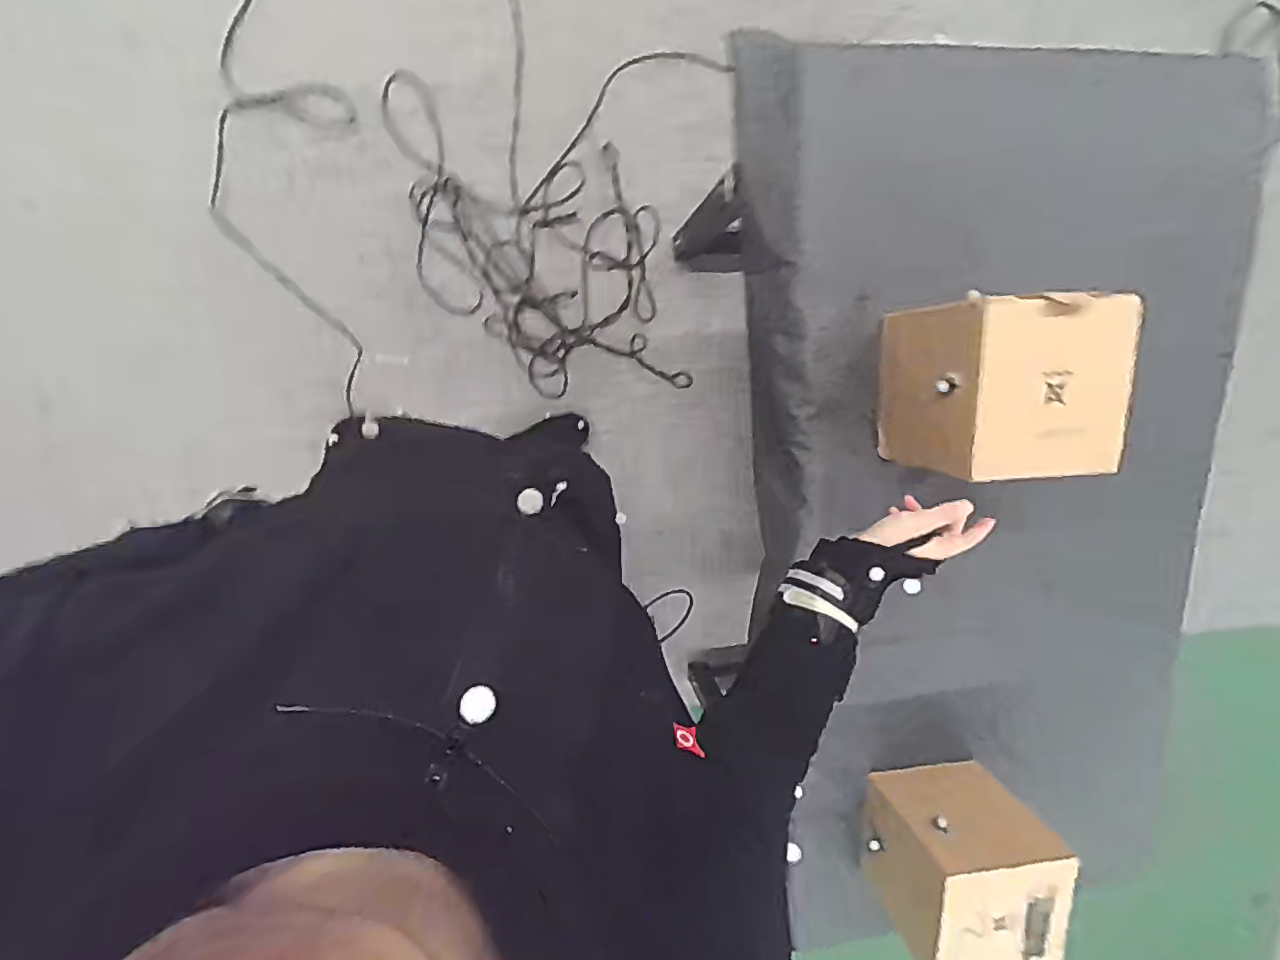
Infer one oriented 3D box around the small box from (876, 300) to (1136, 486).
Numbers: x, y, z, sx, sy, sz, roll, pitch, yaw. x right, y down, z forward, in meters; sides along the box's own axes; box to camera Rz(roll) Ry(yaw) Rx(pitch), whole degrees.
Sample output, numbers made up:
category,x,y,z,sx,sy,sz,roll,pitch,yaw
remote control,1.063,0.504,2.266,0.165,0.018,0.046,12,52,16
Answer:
category,x,y,z,sx,sy,sz,roll,pitch,yaw
small box,0.385,-0.097,0.600,0.168,0.176,0.179,-3,102,-8
